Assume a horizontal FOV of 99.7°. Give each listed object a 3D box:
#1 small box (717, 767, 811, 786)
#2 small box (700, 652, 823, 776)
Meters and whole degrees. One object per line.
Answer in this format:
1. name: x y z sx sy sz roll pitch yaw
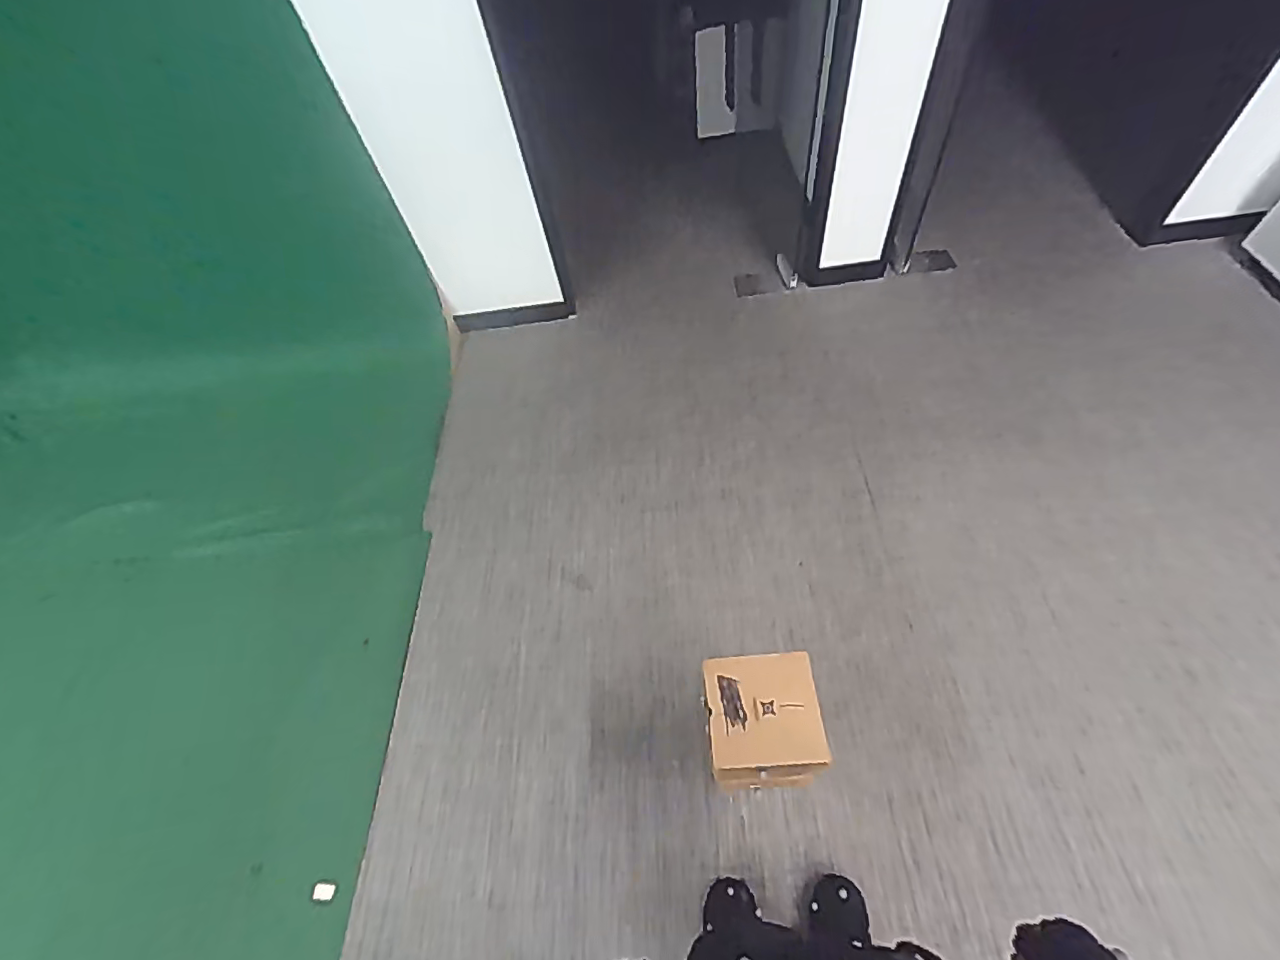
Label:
1. small box: 0.224 0.488 1.053 0.168 0.176 0.179 -7 57 6
2. small box: 0.202 0.407 0.931 0.179 0.176 0.168 -6 56 6
